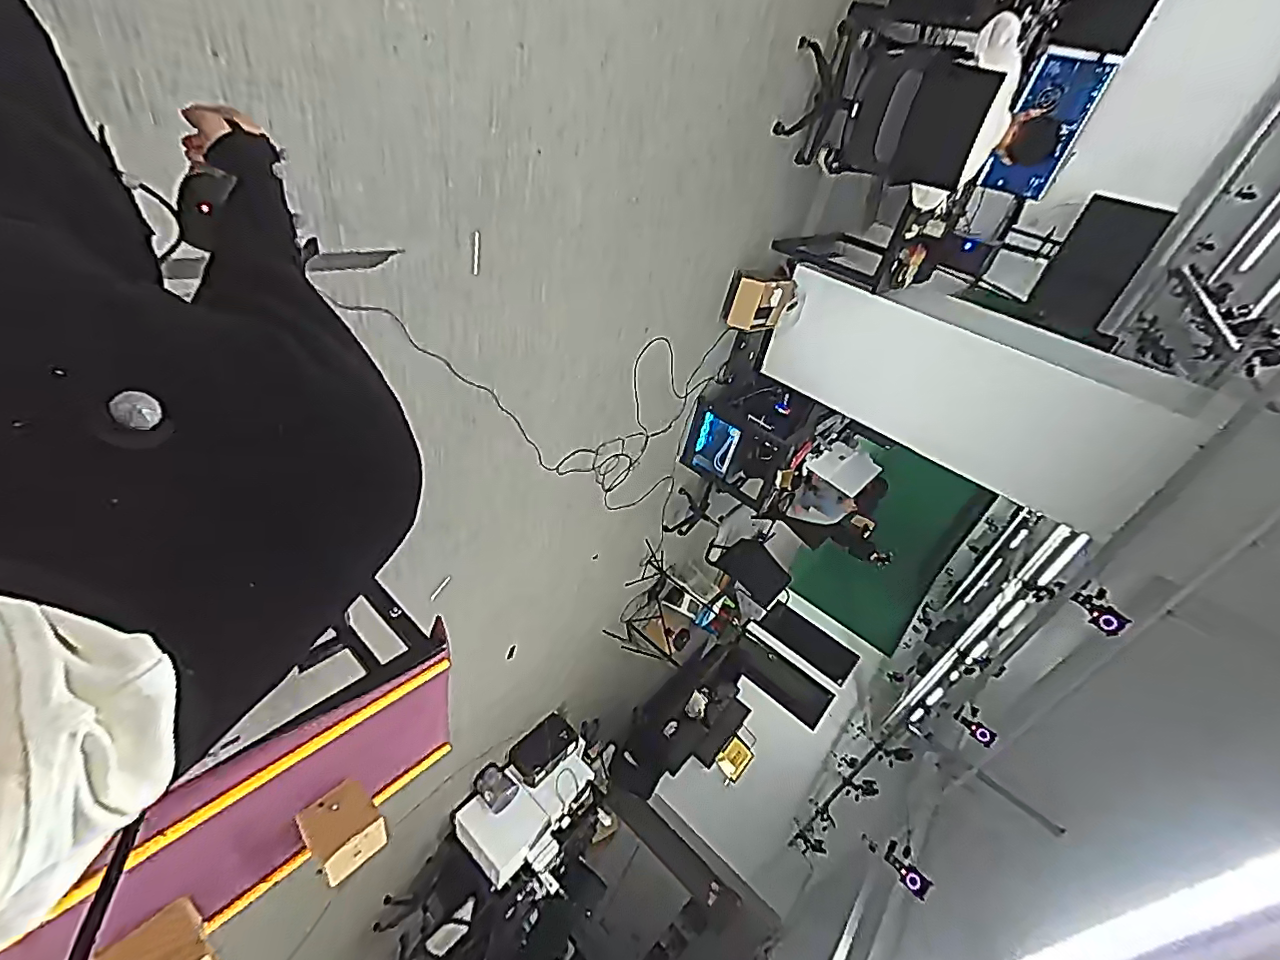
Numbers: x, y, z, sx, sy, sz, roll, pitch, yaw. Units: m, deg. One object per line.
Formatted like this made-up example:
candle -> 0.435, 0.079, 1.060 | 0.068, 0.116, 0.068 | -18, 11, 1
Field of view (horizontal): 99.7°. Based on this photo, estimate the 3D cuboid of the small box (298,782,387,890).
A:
small box -> -0.860, 1.024, 1.569 | 0.168, 0.176, 0.179 | -28, 140, -45

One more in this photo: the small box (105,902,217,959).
small box -> -1.130, 1.163, 1.274 | 0.179, 0.176, 0.168 | -28, 141, -45
